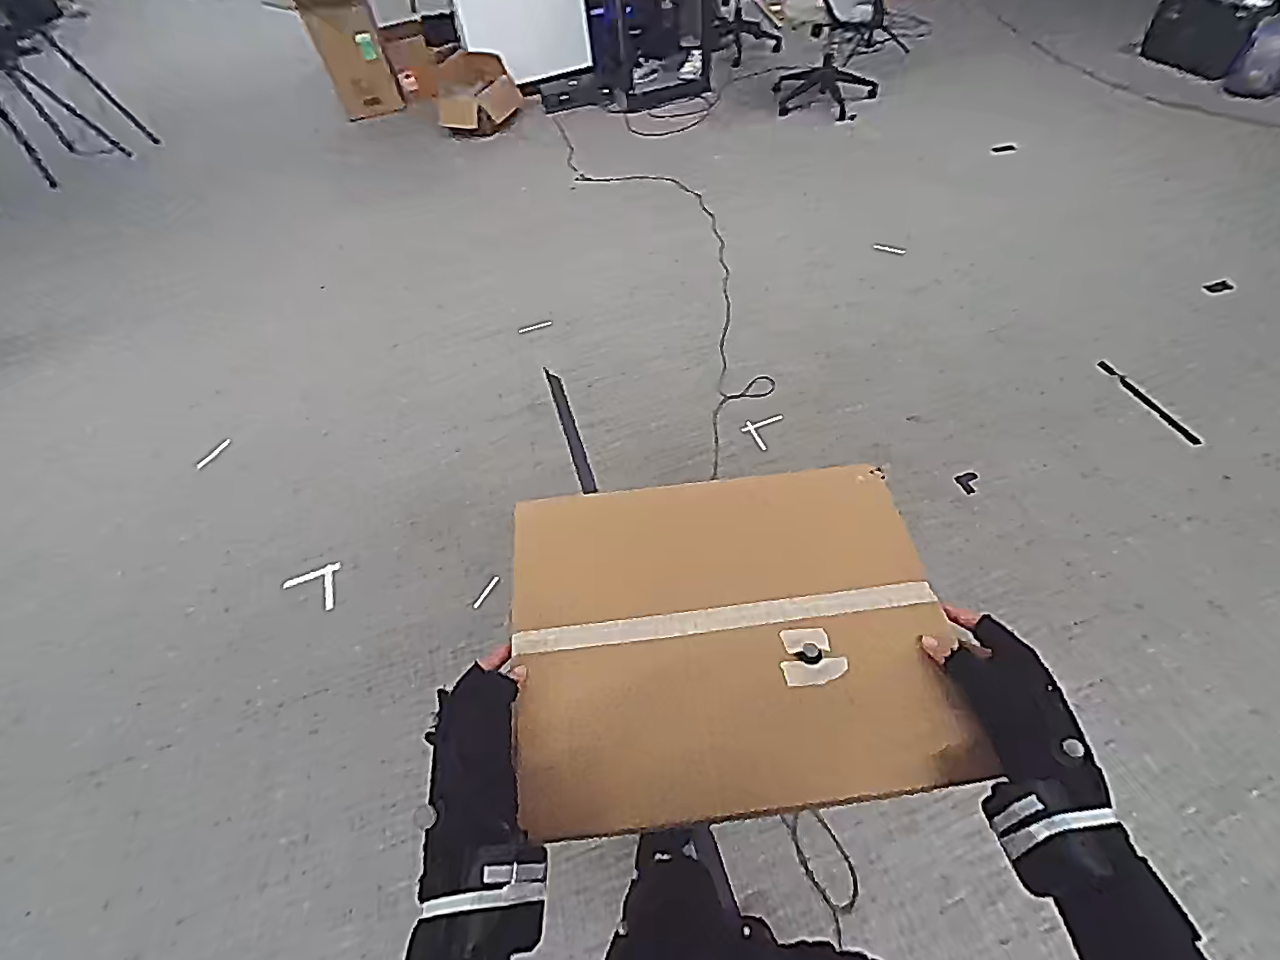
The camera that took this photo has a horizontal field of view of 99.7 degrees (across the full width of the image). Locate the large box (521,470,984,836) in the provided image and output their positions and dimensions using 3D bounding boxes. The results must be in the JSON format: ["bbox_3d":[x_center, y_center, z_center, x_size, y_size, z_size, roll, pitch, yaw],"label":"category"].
[{"bbox_3d":[0.084,0.219,0.655,0.408,0.320,0.320,-6,56,-2],"label":"large box"}]
